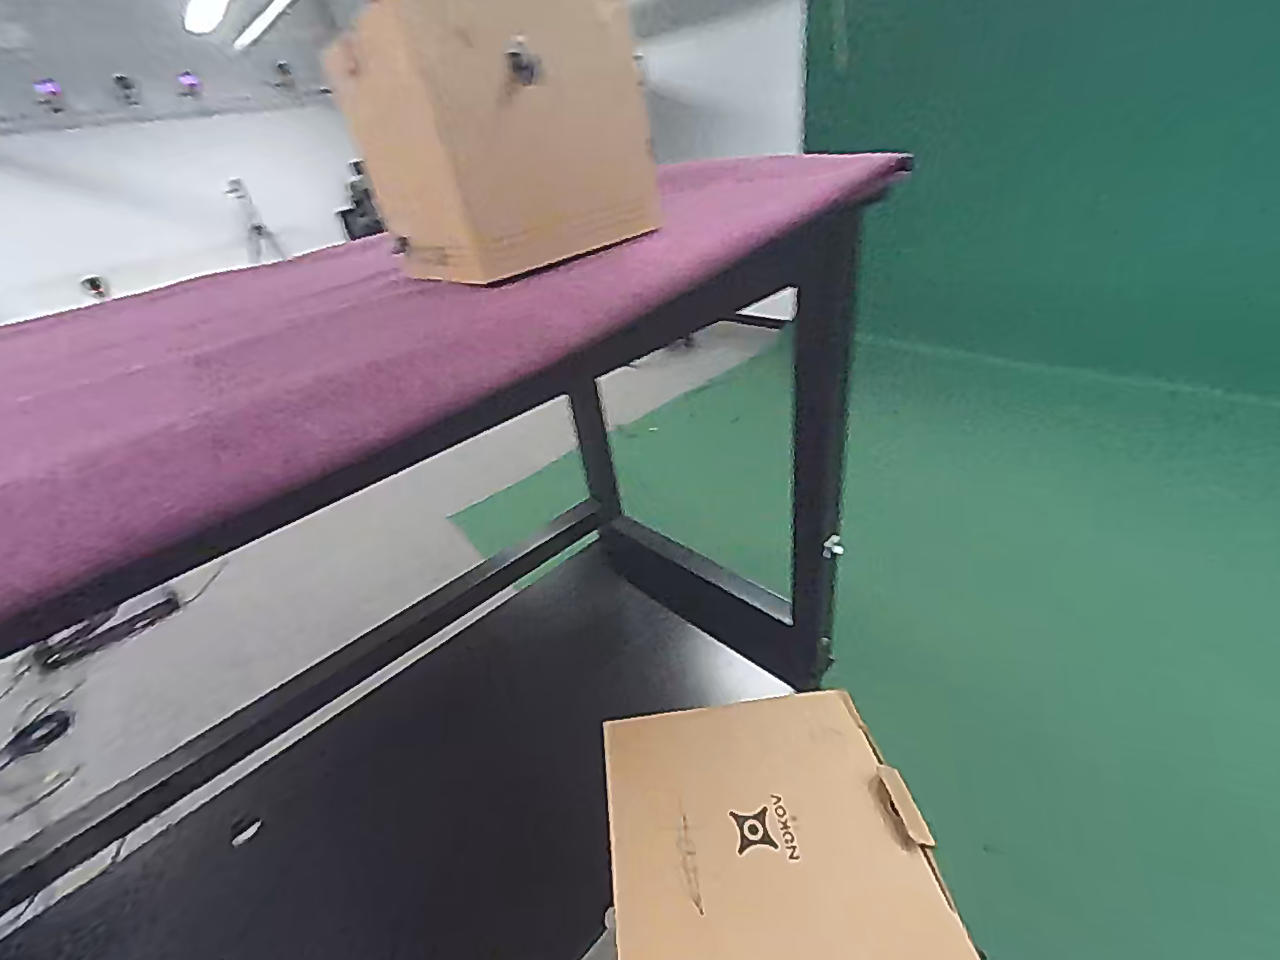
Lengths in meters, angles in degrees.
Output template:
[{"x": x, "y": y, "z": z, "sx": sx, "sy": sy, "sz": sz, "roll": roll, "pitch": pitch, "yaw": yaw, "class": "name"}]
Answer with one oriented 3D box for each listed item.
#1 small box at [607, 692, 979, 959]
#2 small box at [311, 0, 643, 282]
[{"x": 0.077, "y": 0.270, "z": 0.354, "sx": 0.179, "sy": 0.176, "sz": 0.168, "roll": -8, "pitch": 33, "yaw": -2, "class": "small box"}, {"x": -0.119, "y": -0.267, "z": 0.434, "sx": 0.179, "sy": 0.176, "sz": 0.168, "roll": -32, "pitch": 37, "yaw": -30, "class": "small box"}]
